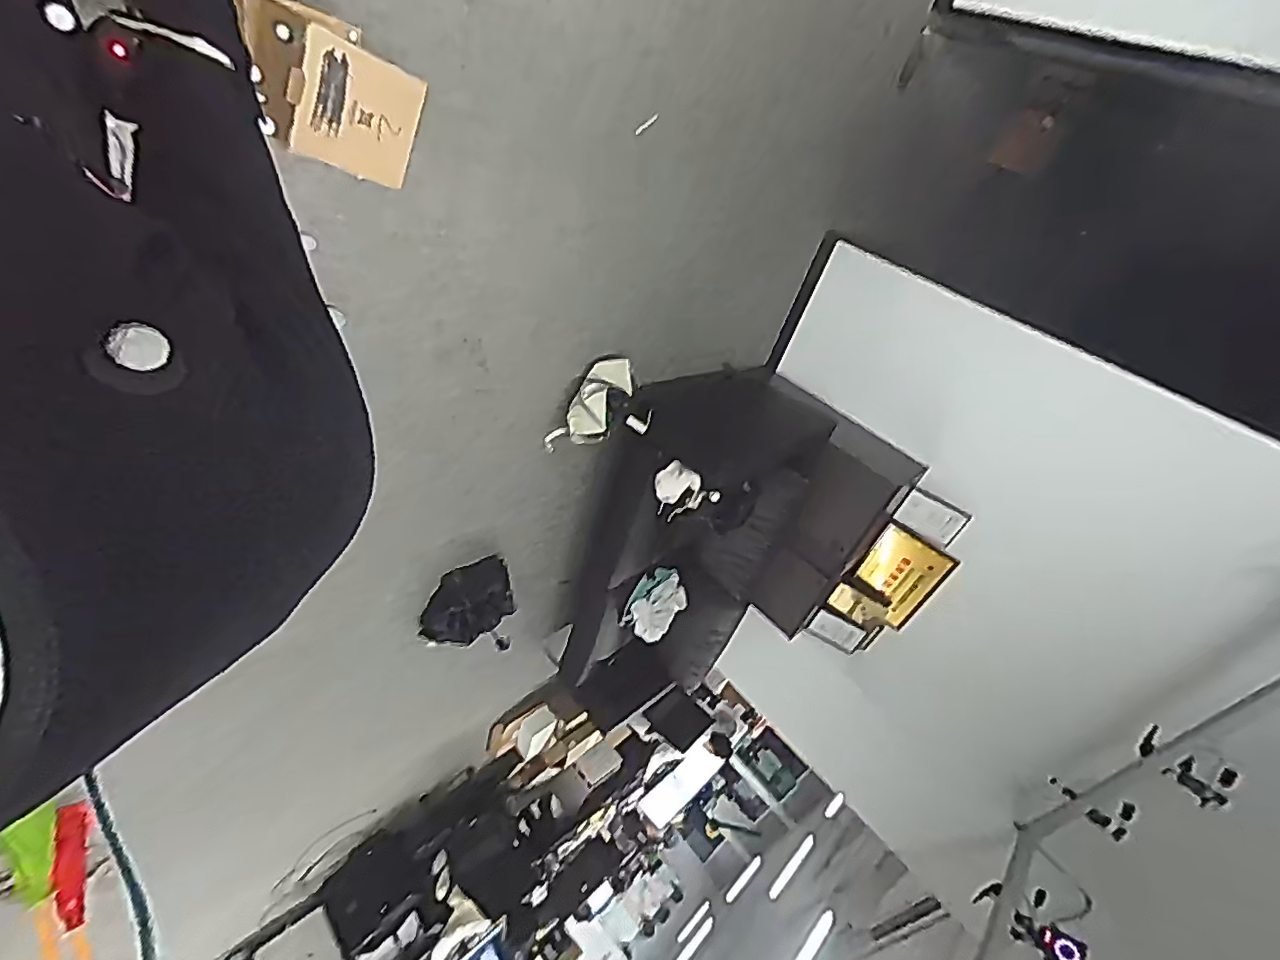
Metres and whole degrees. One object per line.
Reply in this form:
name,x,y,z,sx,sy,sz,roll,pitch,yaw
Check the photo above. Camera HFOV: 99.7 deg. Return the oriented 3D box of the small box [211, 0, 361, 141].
small box,-0.588,-0.705,0.901,0.168,0.176,0.179,-17,140,-46
